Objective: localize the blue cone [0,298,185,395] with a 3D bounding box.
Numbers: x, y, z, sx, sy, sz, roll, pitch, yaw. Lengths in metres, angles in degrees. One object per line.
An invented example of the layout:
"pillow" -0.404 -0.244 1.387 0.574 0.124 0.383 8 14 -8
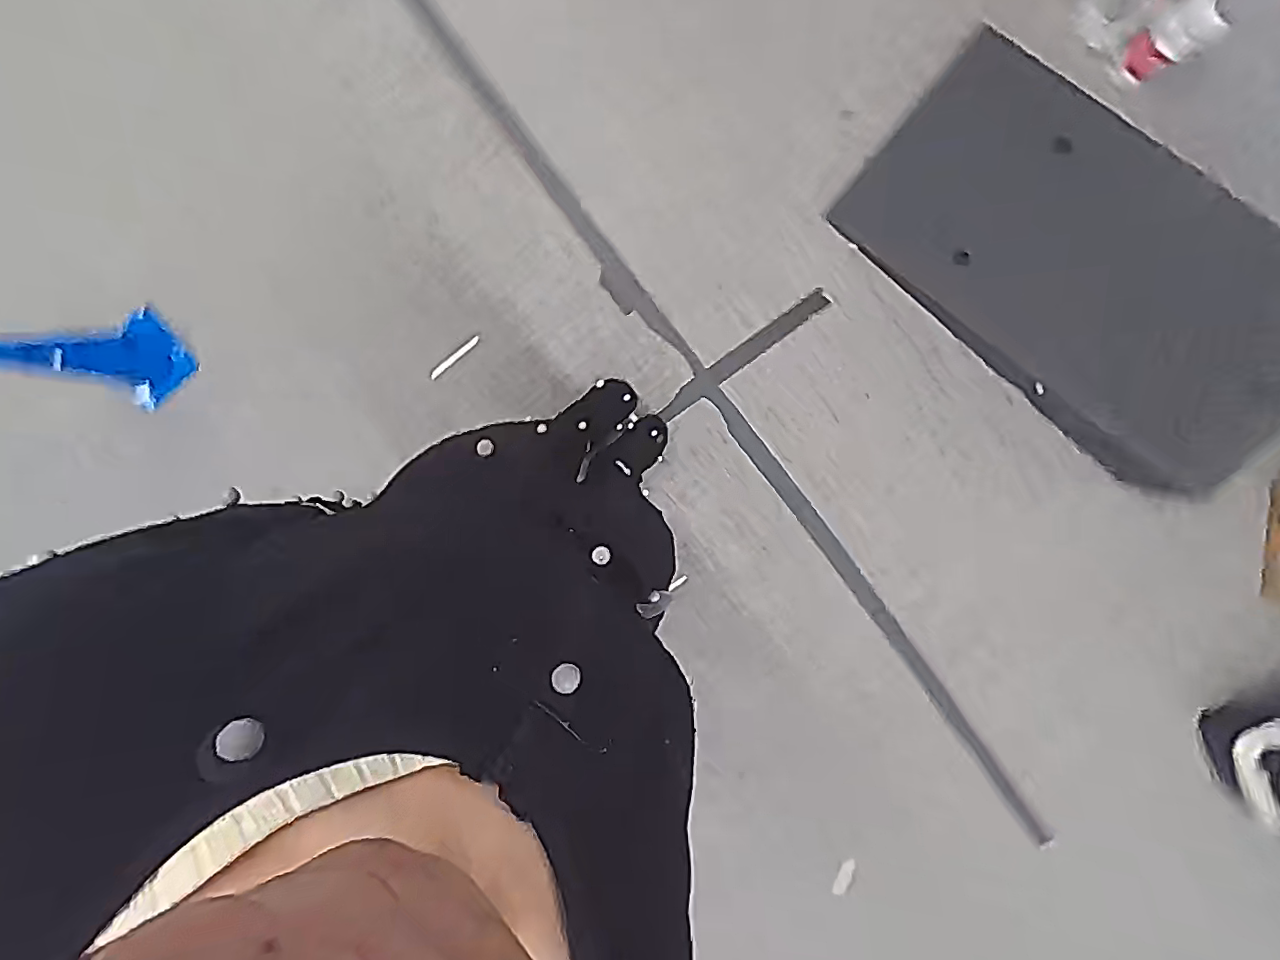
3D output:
"blue cone" -1.270 -0.303 1.205 0.193 0.380 0.192 -35 96 9
